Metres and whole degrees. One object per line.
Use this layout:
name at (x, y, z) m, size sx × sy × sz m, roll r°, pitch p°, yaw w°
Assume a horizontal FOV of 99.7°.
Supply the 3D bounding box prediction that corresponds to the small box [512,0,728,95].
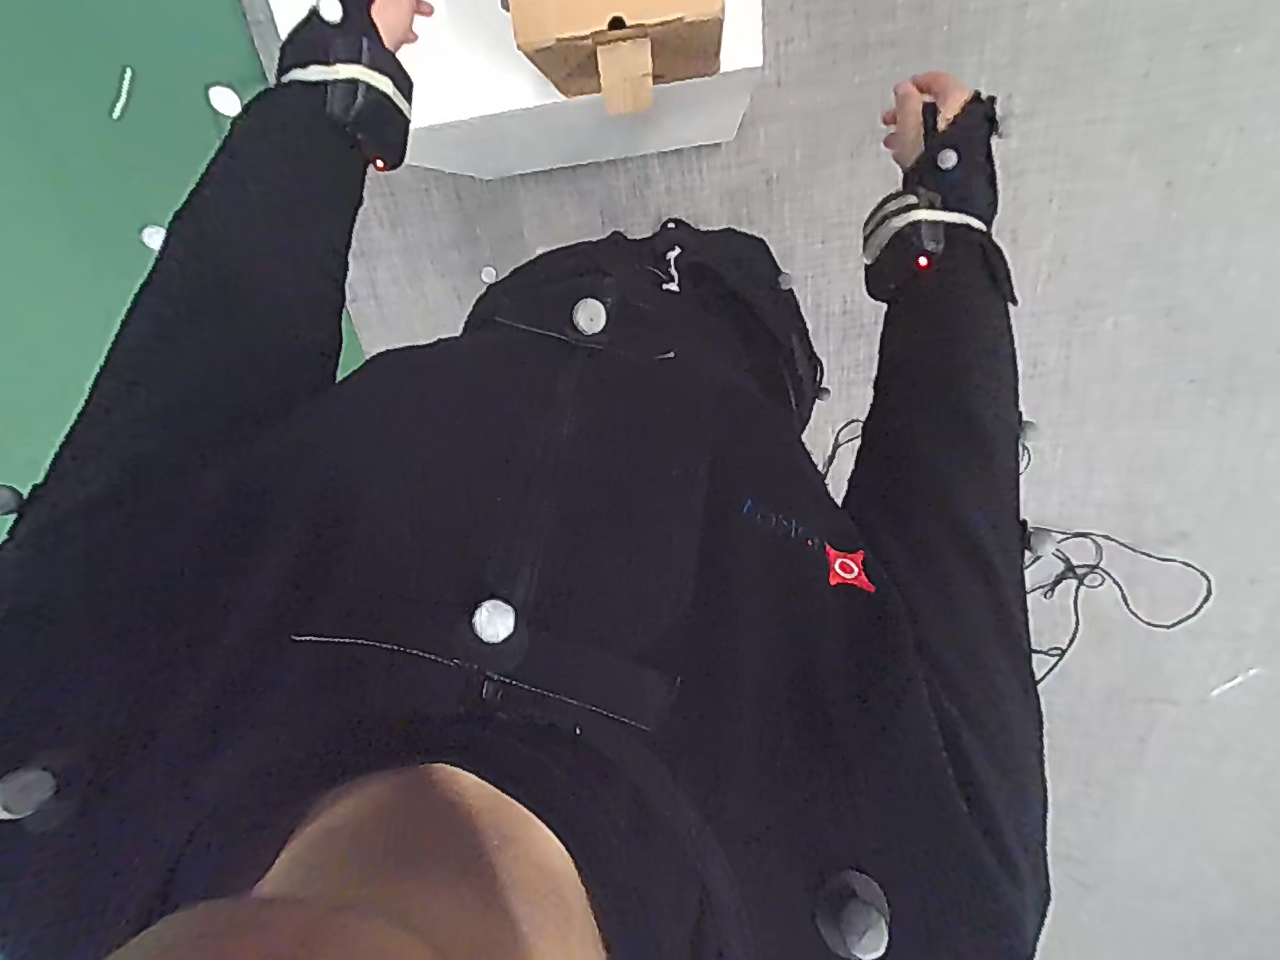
small box at (-0.016, -0.456, 0.454) m, size 0.168 × 0.176 × 0.179 m, roll -3°, pitch 114°, yaw 8°
